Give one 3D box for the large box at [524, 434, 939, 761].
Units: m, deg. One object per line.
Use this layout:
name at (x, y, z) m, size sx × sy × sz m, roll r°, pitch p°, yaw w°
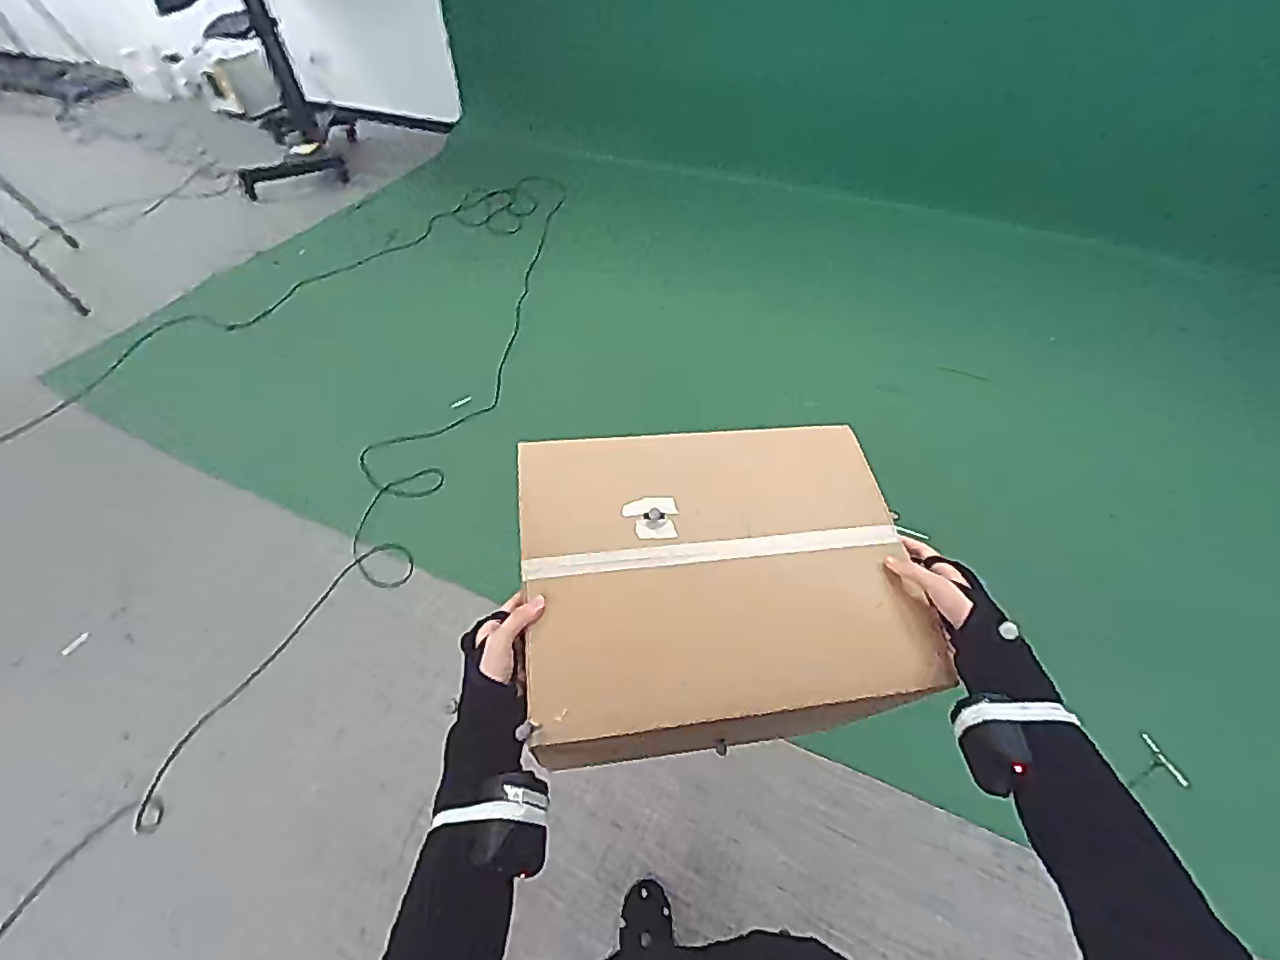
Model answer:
large box at (0.071, 0.162, 0.703) m, size 0.408 × 0.320 × 0.320 m, roll -4°, pitch 59°, yaw -8°
